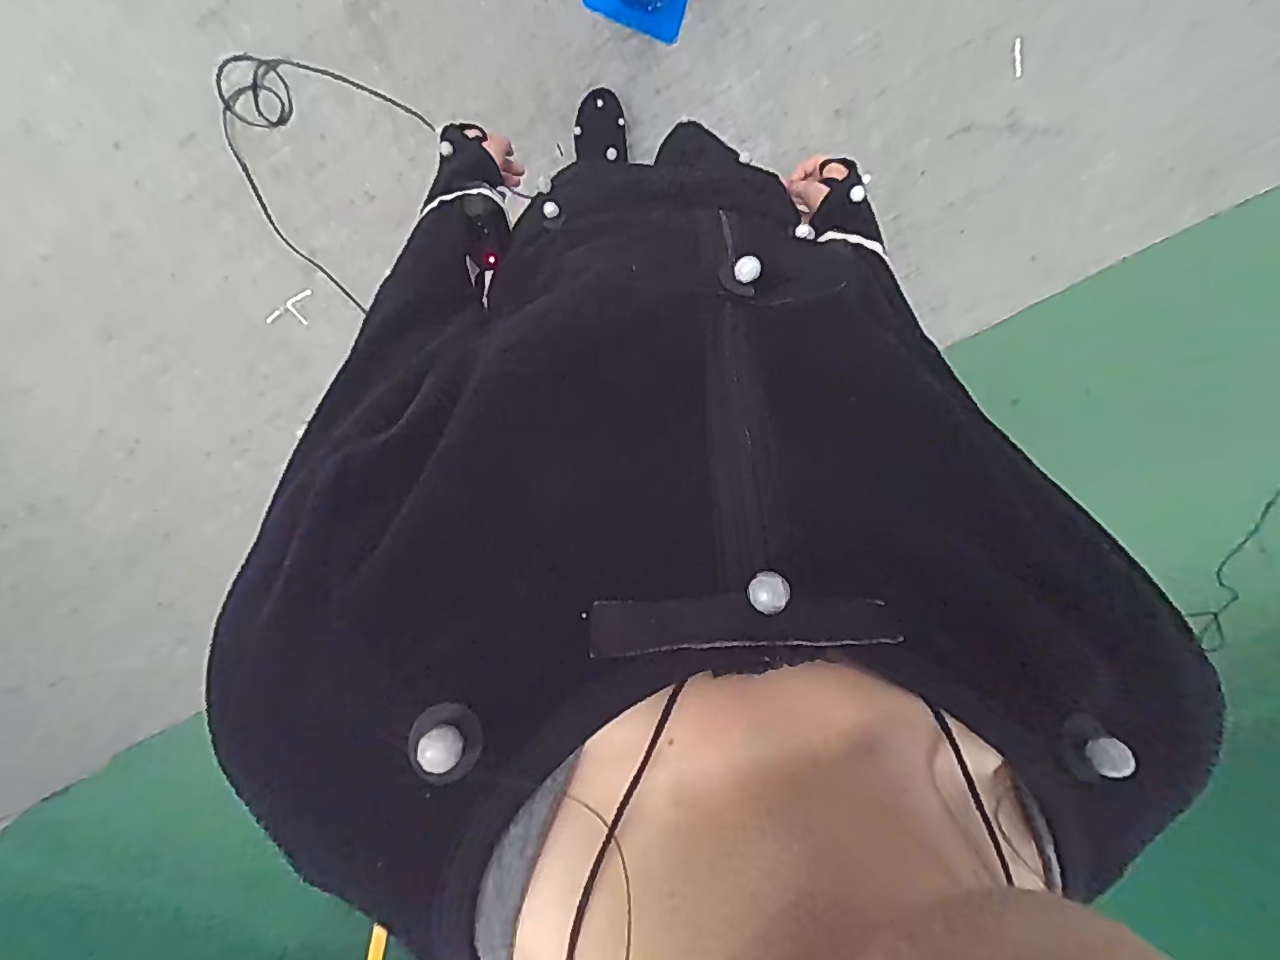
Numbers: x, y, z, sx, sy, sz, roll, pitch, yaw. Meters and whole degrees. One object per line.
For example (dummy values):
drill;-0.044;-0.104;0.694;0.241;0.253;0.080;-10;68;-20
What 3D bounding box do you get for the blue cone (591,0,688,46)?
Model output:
blue cone;0.023;-0.849;0.863;0.192;0.380;0.193;11;122;-13
